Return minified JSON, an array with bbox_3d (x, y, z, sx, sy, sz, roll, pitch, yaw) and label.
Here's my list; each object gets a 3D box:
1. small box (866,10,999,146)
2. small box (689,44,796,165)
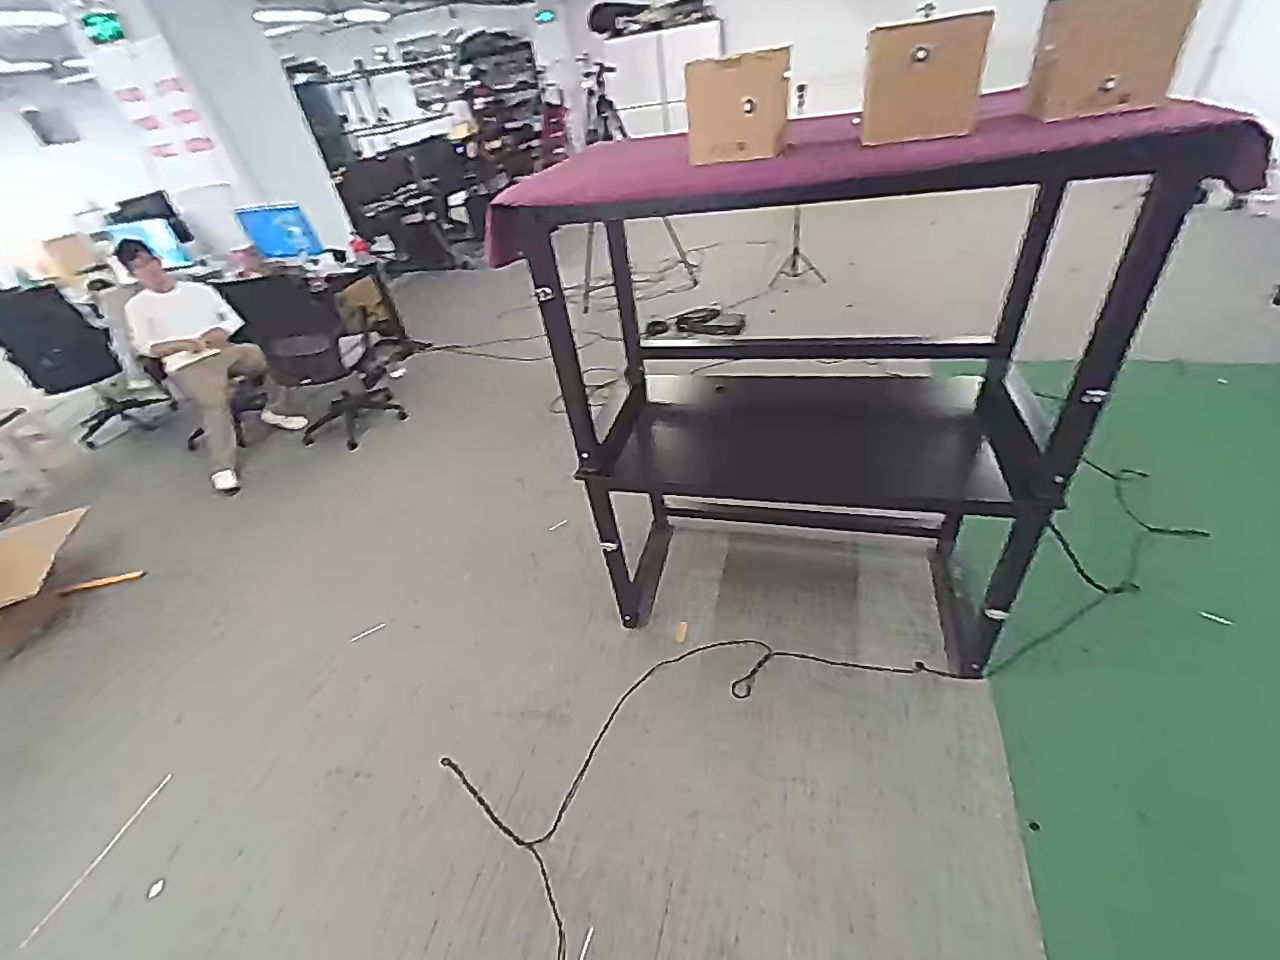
[{"bbox_3d":[0.502,-0.704,0.958,0.179,0.176,0.168,4,39,17],"label":"small box"},{"bbox_3d":[0.205,-0.725,1.054,0.168,0.176,0.179,9,41,22],"label":"small box"}]
